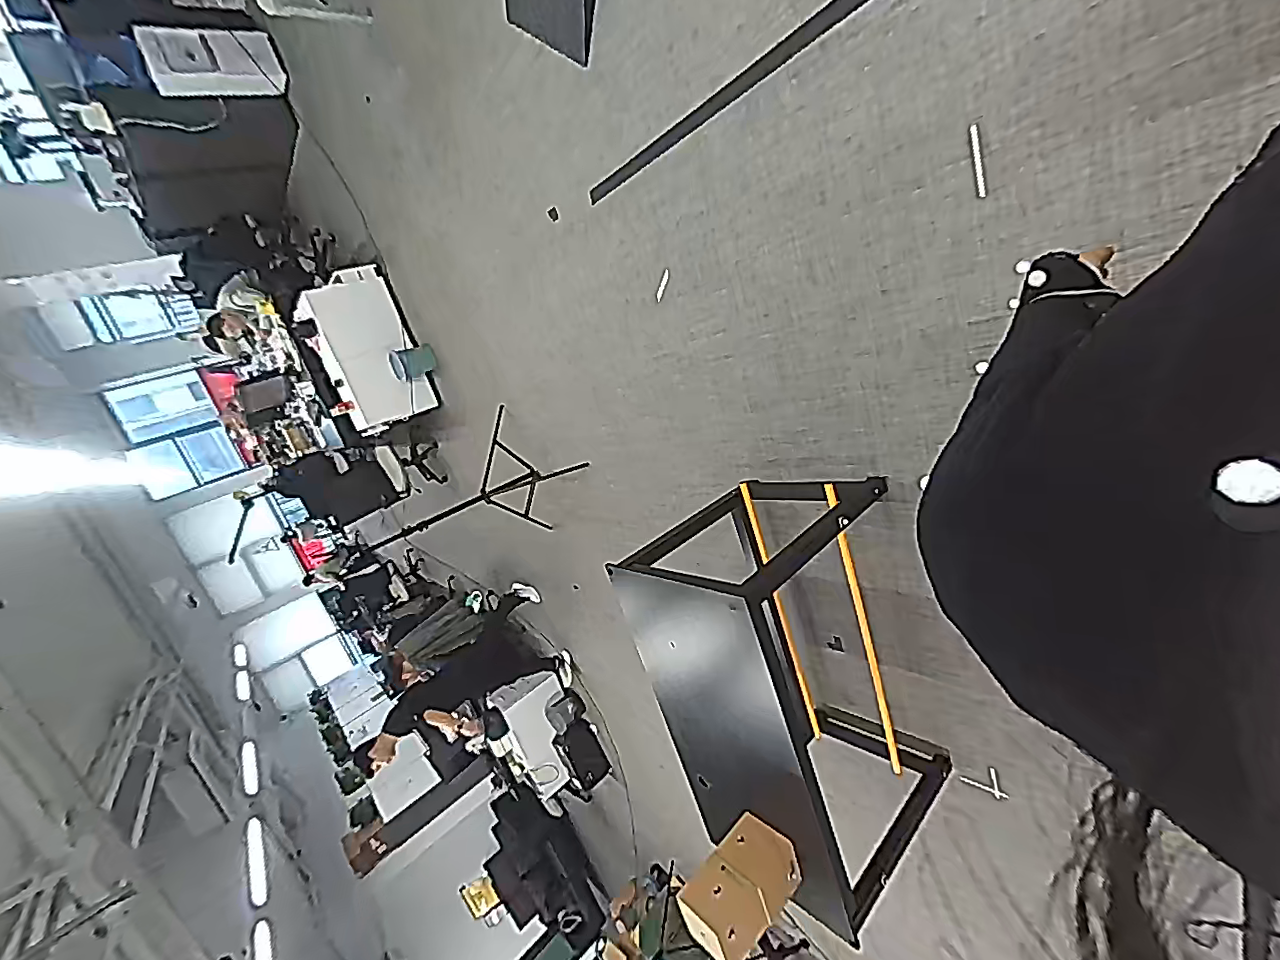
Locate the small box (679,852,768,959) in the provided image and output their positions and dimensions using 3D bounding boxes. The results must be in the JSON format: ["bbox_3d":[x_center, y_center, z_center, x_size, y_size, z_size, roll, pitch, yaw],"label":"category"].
[{"bbox_3d":[0.244,1.236,1.565,0.168,0.176,0.179,6,120,52],"label":"small box"}]

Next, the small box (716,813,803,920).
[{"bbox_3d":[0.367,1.164,1.648,0.179,0.176,0.168,4,119,51],"label":"small box"}]
